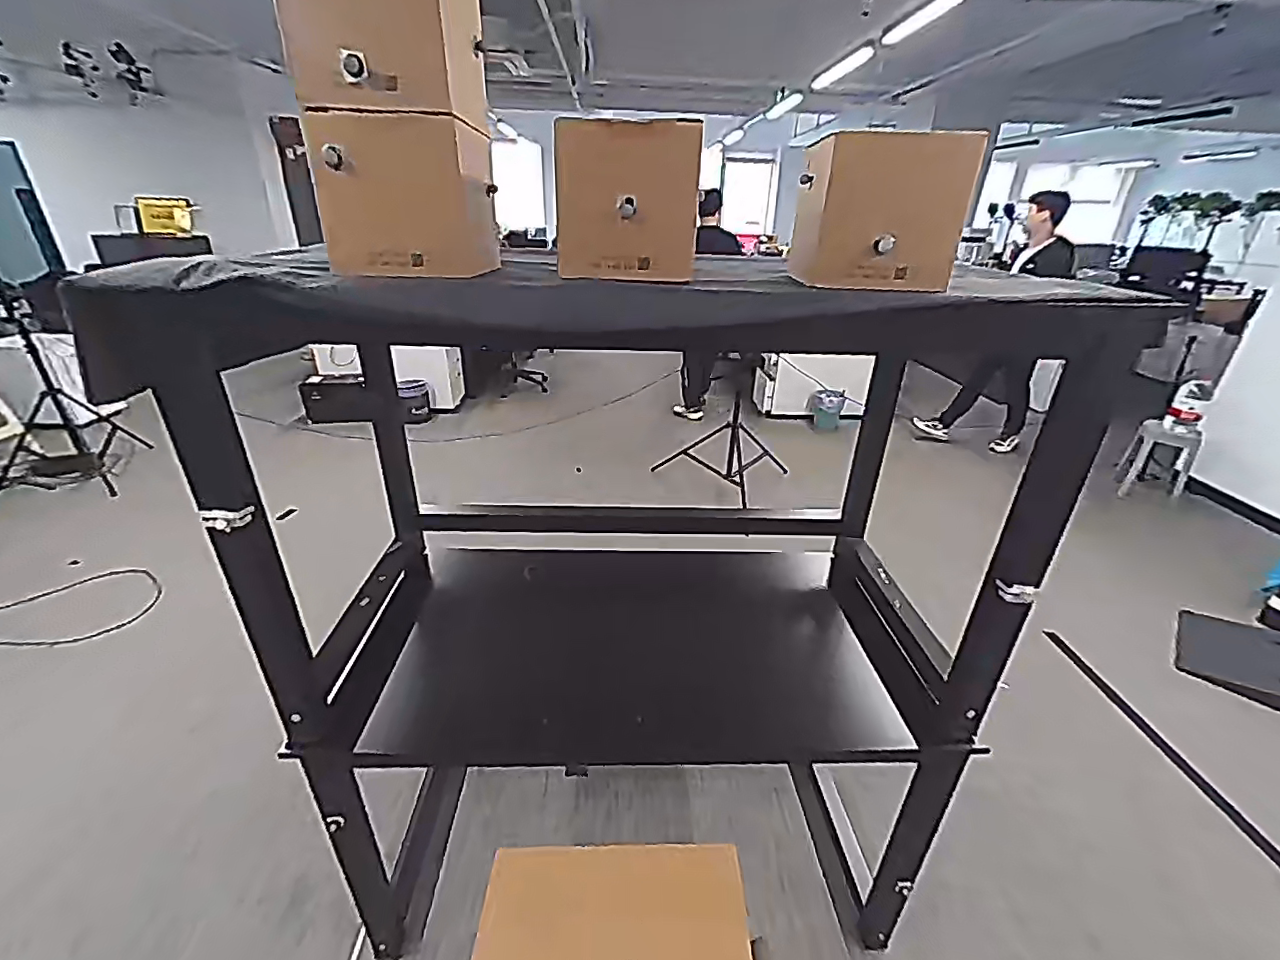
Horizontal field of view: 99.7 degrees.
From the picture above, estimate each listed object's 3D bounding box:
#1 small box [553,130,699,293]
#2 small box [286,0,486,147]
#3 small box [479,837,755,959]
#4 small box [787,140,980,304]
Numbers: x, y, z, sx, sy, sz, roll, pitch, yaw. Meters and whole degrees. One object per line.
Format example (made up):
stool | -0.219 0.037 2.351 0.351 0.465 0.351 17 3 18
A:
small box | -0.018 -0.338 0.699 0.168 0.176 0.179 2 25 -2
small box | -0.280 -0.488 0.621 0.168 0.176 0.179 0 25 -2
small box | -0.012 0.361 0.336 0.168 0.176 0.179 -3 27 2
small box | 0.296 -0.333 0.706 0.168 0.176 0.179 3 26 3
